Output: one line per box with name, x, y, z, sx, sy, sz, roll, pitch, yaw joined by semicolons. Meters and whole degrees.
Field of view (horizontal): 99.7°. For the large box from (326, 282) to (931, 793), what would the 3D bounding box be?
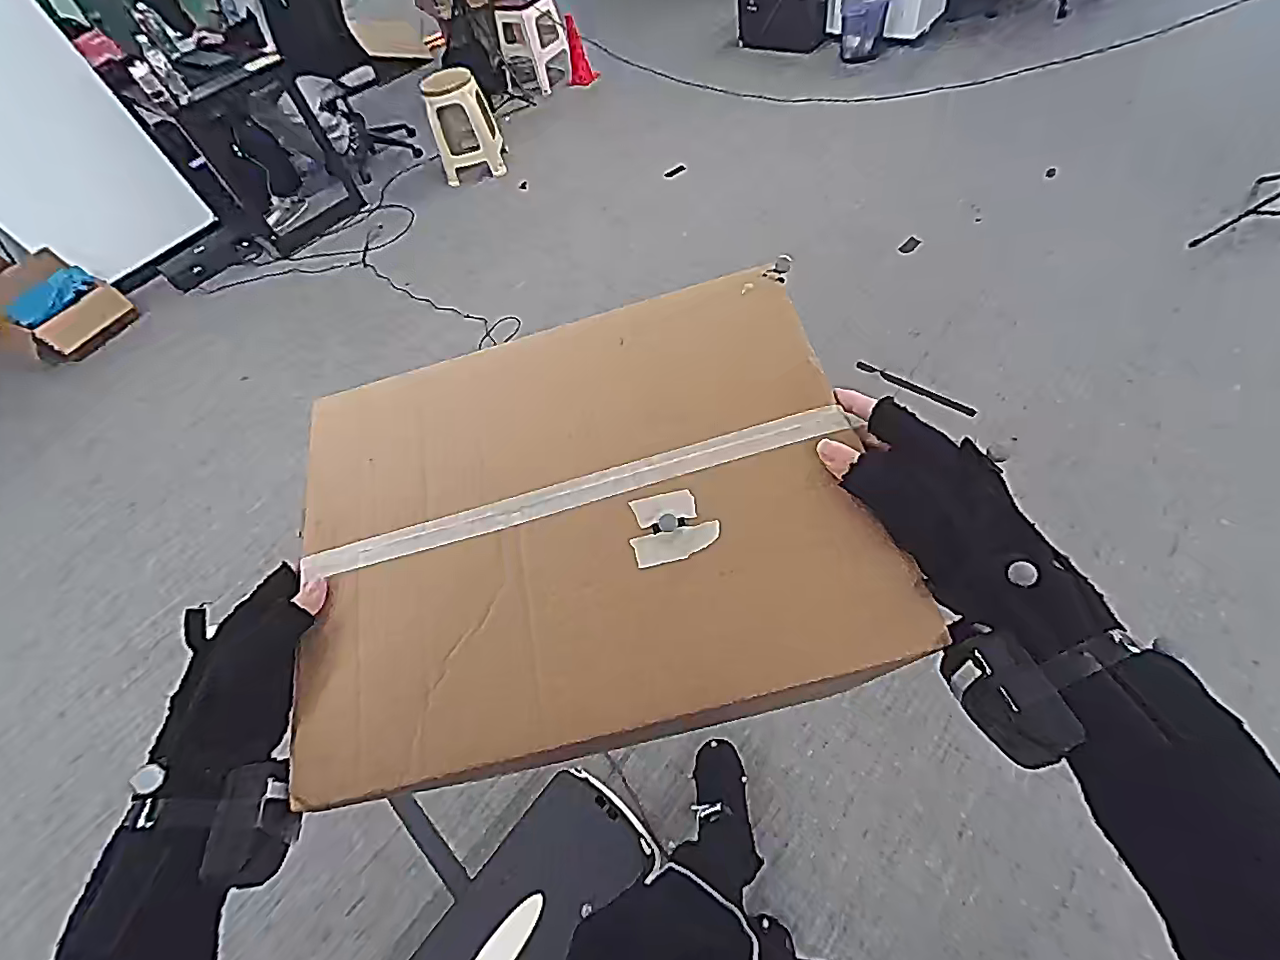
large box;-0.021;0.078;0.536;0.408;0.320;0.320;-16;64;2
